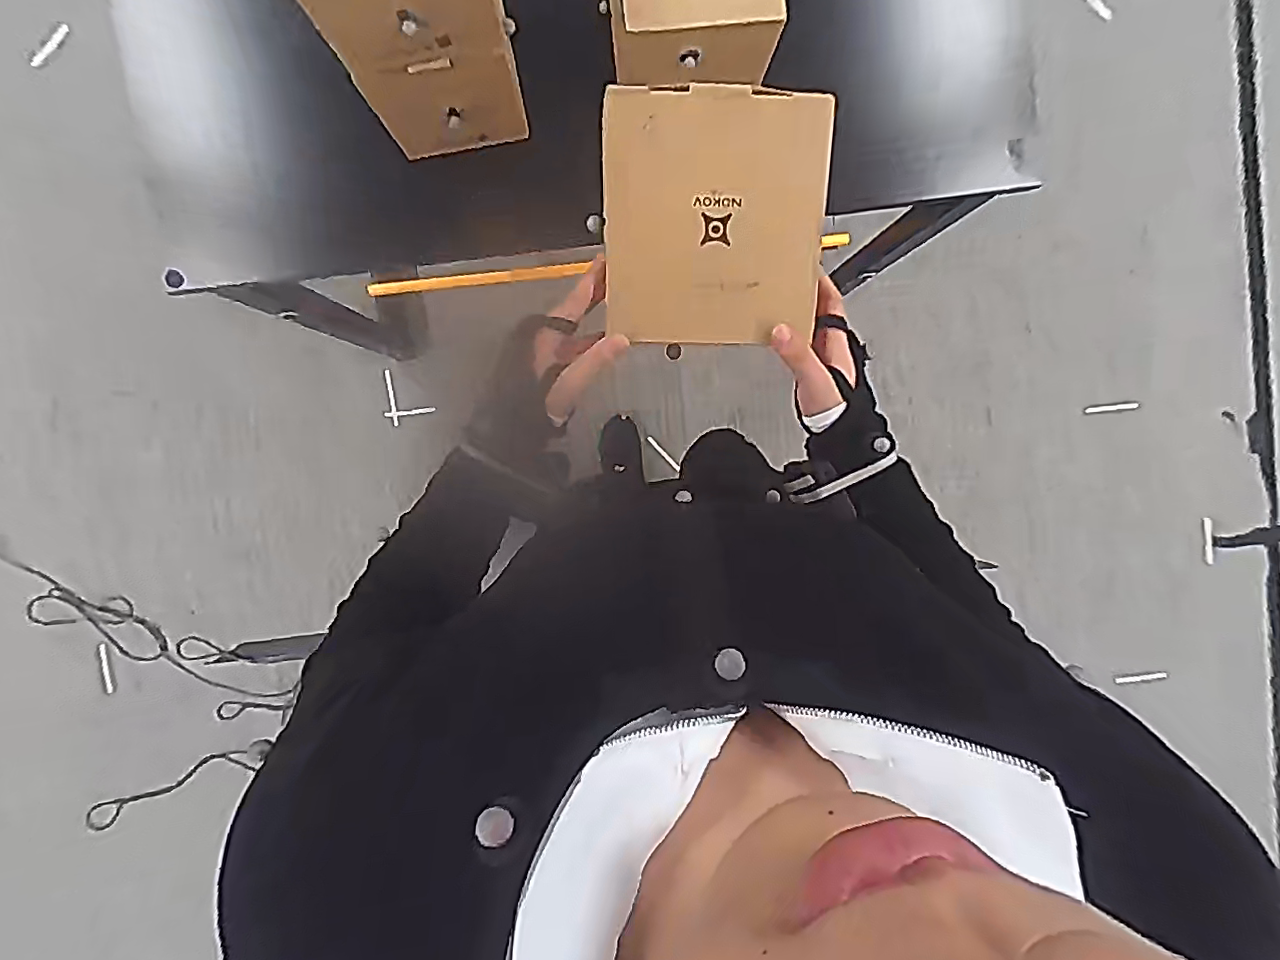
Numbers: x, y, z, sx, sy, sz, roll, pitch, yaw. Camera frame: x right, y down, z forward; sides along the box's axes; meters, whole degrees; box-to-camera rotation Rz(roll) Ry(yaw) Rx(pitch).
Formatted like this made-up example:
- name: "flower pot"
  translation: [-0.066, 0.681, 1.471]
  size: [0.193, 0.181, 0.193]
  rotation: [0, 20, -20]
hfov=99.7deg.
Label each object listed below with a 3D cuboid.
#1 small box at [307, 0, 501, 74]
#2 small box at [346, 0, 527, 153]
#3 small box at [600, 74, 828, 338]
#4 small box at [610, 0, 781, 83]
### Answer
- name: "small box"
  translation: [-0.237, -0.516, 0.479]
  size: [0.168, 0.176, 0.179]
  rotation: [-13, 94, -1]
- name: "small box"
  translation: [-0.242, -0.522, 0.645]
  size: [0.168, 0.176, 0.179]
  rotation: [-12, 94, -1]
- name: "small box"
  translation: [0.048, -0.219, 0.481]
  size: [0.168, 0.176, 0.179]
  rotation: [0, 105, -4]
- name: "small box"
  translation: [0.054, -0.564, 0.651]
  size: [0.179, 0.176, 0.168]
  rotation: [-7, 94, -2]
